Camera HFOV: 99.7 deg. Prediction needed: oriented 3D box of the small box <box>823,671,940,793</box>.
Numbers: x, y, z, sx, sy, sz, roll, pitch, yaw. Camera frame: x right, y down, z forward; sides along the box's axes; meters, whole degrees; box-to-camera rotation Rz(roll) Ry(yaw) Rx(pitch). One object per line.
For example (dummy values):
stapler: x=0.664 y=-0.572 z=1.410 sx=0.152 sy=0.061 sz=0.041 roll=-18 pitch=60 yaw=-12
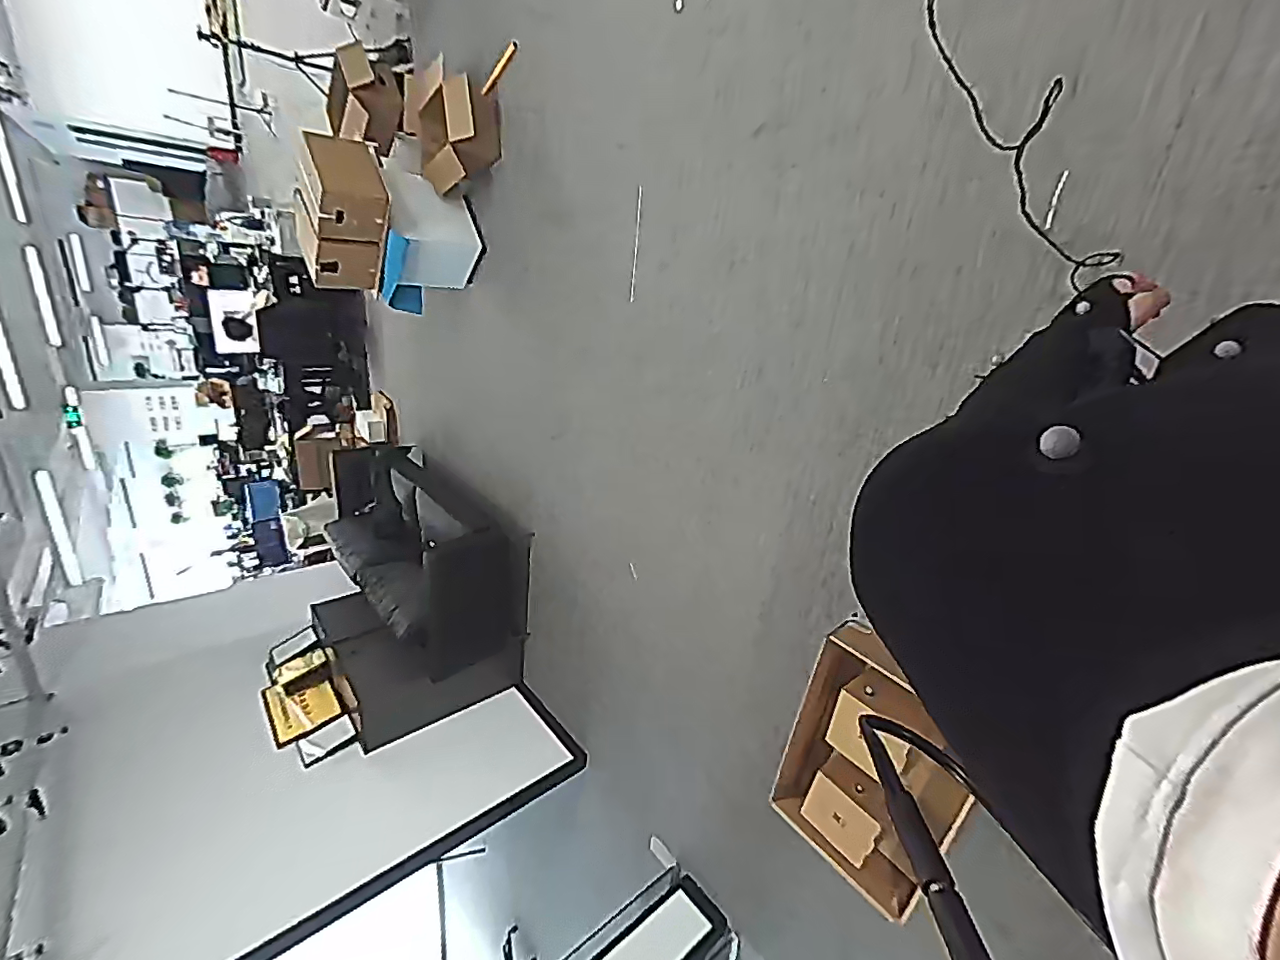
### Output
small box: x=0.572 y=0.582 z=1.283 sx=0.179 sy=0.176 sz=0.168 roll=28 pitch=120 yaw=41

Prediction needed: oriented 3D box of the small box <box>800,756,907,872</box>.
small box: x=0.547 y=0.830 z=1.381 sx=0.179 sy=0.176 sz=0.168 roll=33 pitch=122 yaw=40
